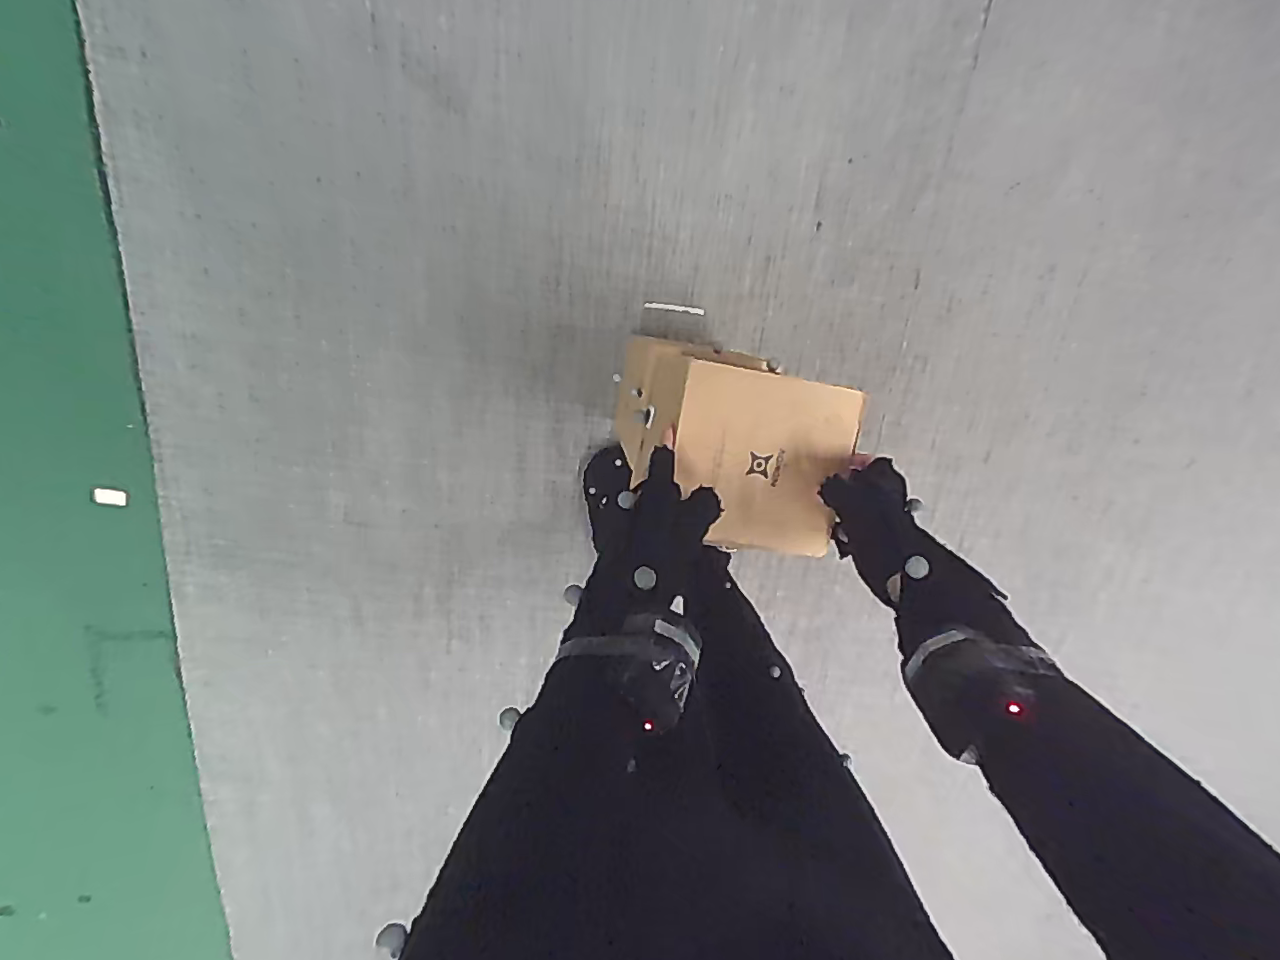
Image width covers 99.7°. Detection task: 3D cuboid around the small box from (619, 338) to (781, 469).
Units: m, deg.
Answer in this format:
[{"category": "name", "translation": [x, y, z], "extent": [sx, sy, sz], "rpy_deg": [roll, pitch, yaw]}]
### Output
[{"category": "small box", "translation": [0.073, -0.104, 0.776], "extent": [0.179, 0.176, 0.168], "rpy_deg": [7, 108, -10]}]

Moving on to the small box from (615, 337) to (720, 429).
[{"category": "small box", "translation": [0.058, -0.150, 0.932], "extent": [0.179, 0.176, 0.168], "rpy_deg": [4, 108, -10]}]

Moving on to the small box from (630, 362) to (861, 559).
[{"category": "small box", "translation": [0.095, -0.030, 0.577], "extent": [0.179, 0.176, 0.168], "rpy_deg": [8, 103, -10]}]
